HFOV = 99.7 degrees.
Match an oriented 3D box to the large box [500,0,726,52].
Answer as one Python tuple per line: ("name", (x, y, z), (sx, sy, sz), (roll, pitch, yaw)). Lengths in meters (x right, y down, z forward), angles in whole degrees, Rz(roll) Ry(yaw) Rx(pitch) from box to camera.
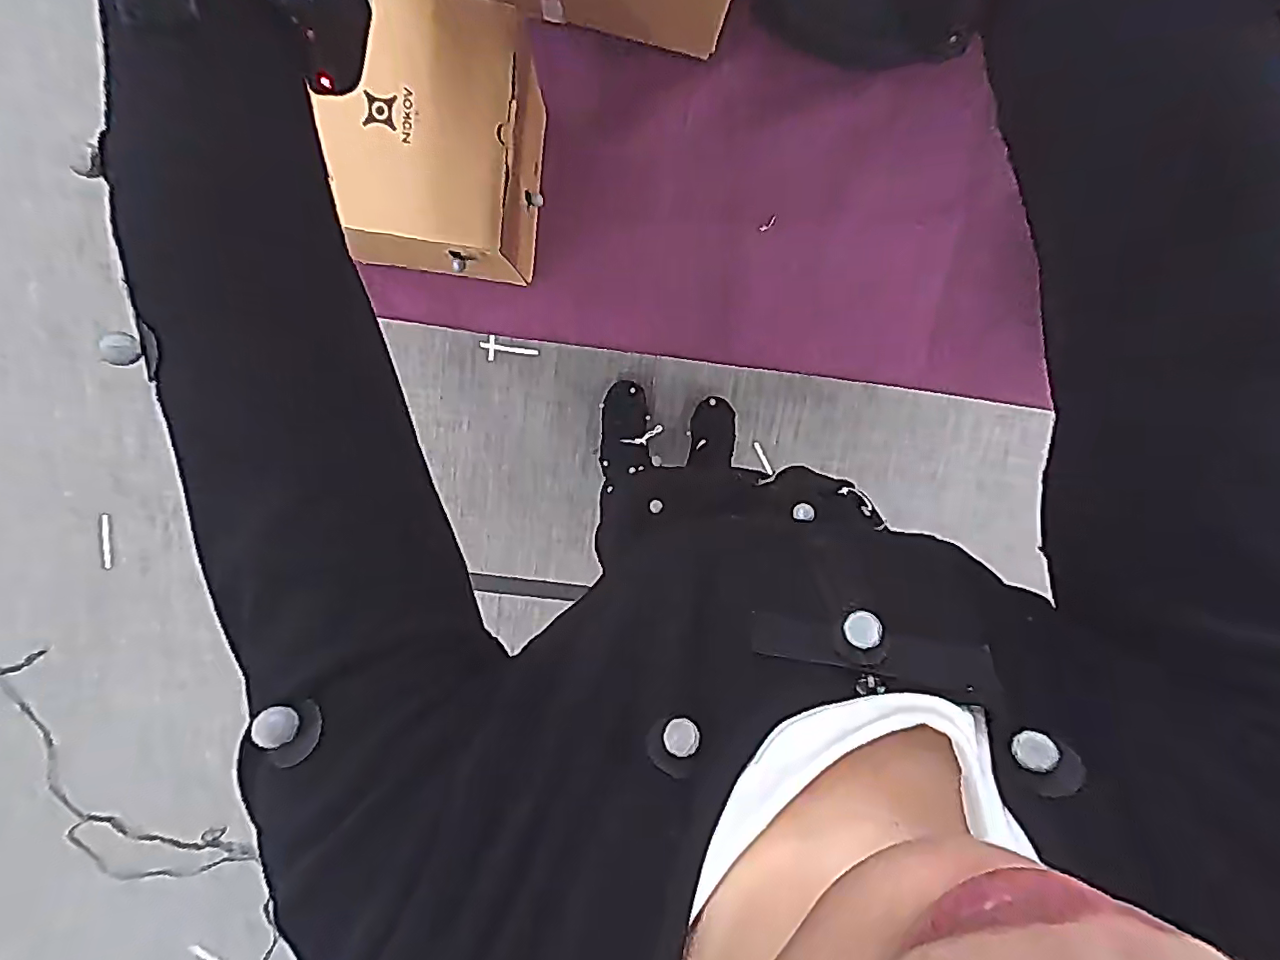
("large box", (-0.039, -0.594, 0.331), (0.320, 0.320, 0.408), (9, 105, -5))

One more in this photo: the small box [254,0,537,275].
("small box", (-0.191, -0.282, 0.466), (0.179, 0.176, 0.168), (6, 102, -6))
